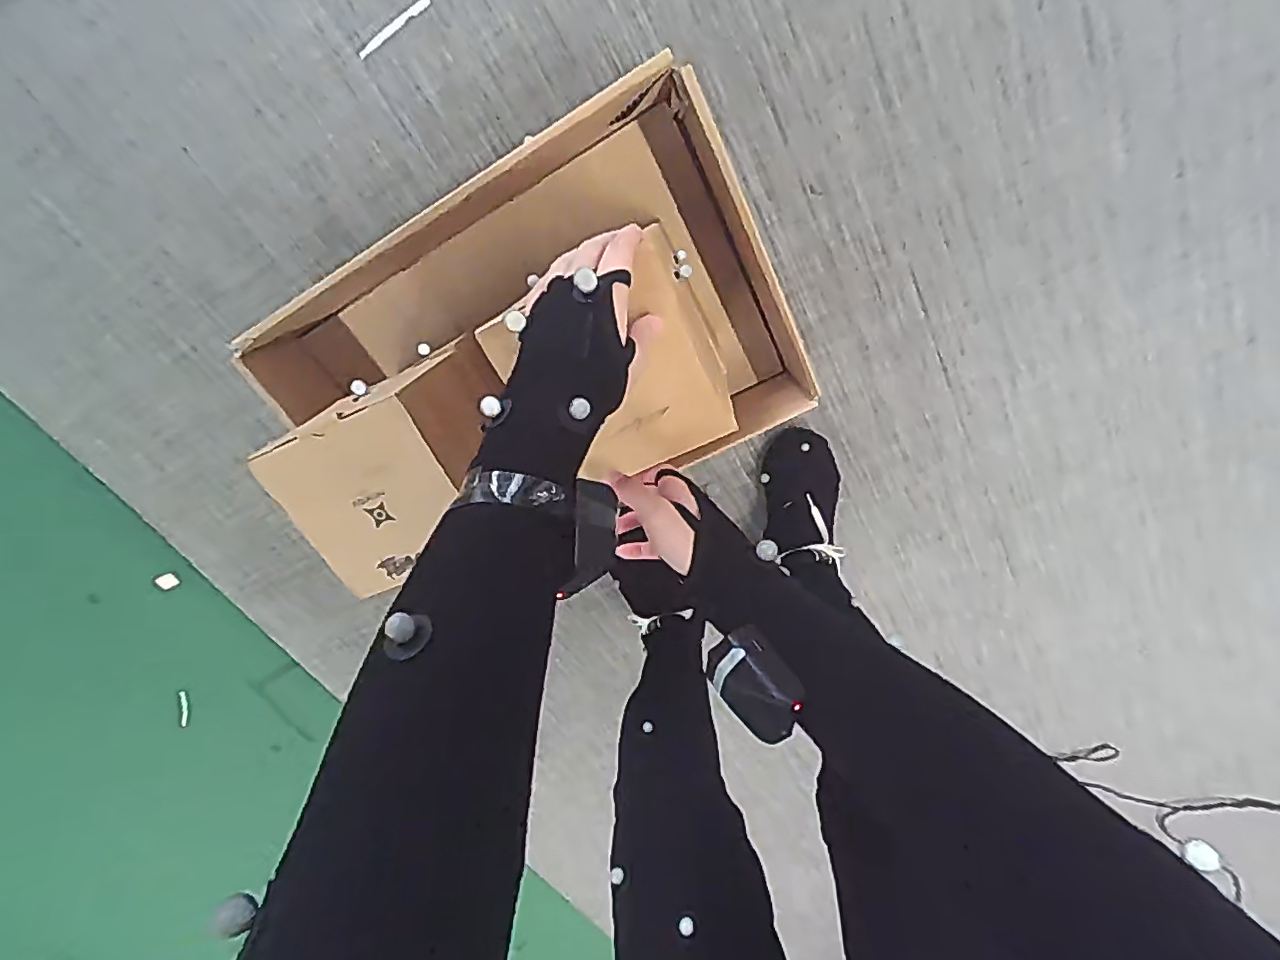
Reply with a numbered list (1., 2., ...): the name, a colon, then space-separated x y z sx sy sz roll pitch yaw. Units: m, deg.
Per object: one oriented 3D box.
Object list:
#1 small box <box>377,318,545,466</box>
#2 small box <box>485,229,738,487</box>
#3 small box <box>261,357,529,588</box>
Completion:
1. small box: -0.238 -0.096 0.739 0.168 0.176 0.179 -27 114 12
2. small box: -0.018 -0.128 0.535 0.168 0.176 0.179 -22 116 15
3. small box: -0.245 -0.019 0.590 0.168 0.176 0.179 -20 115 13
